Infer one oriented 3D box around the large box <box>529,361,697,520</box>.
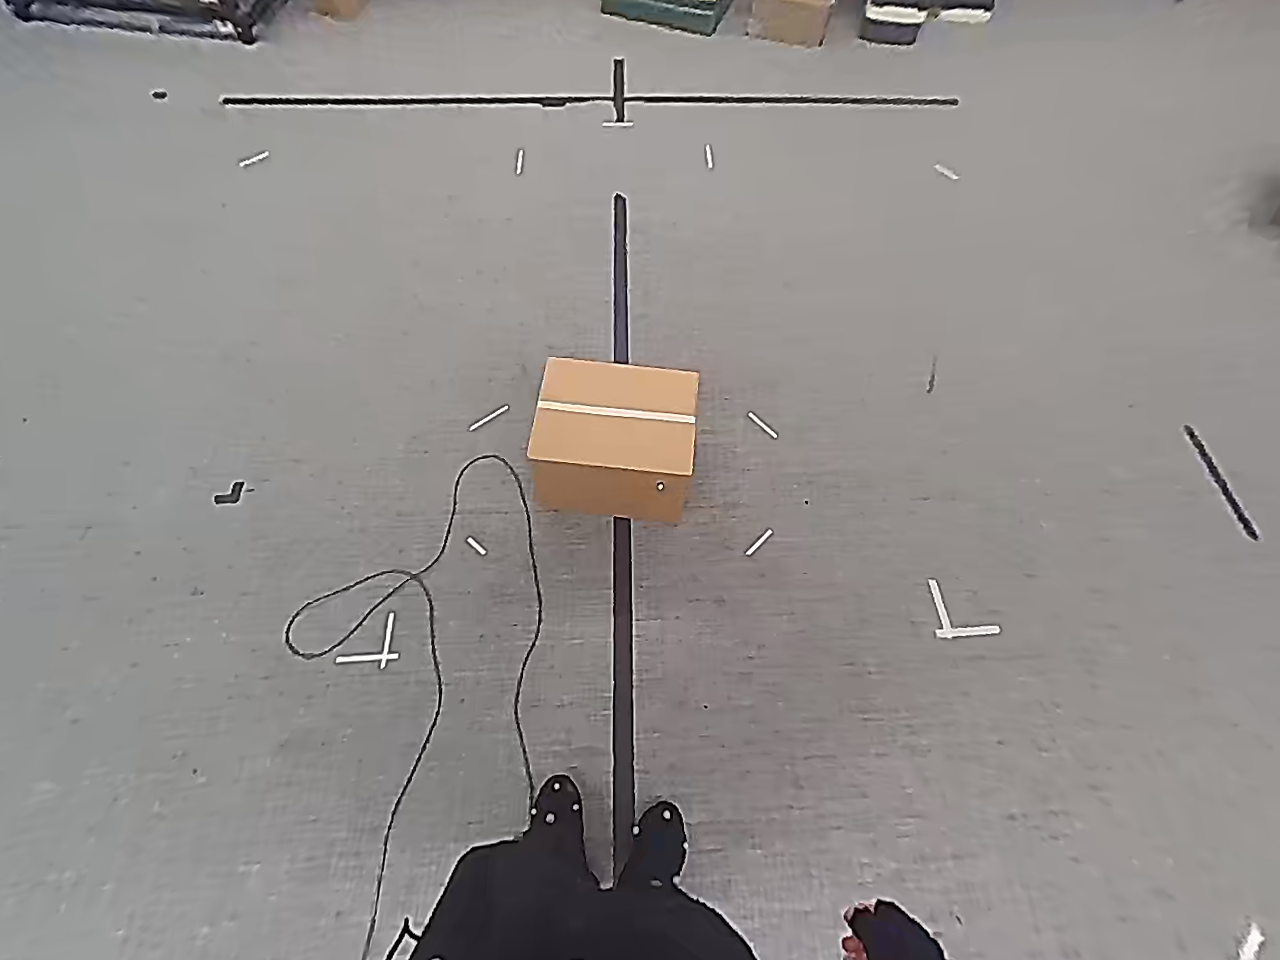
[{"bbox_3d":[-0.062,-0.098,1.495,0.408,0.320,0.320,6,63,0],"label":"large box"}]
